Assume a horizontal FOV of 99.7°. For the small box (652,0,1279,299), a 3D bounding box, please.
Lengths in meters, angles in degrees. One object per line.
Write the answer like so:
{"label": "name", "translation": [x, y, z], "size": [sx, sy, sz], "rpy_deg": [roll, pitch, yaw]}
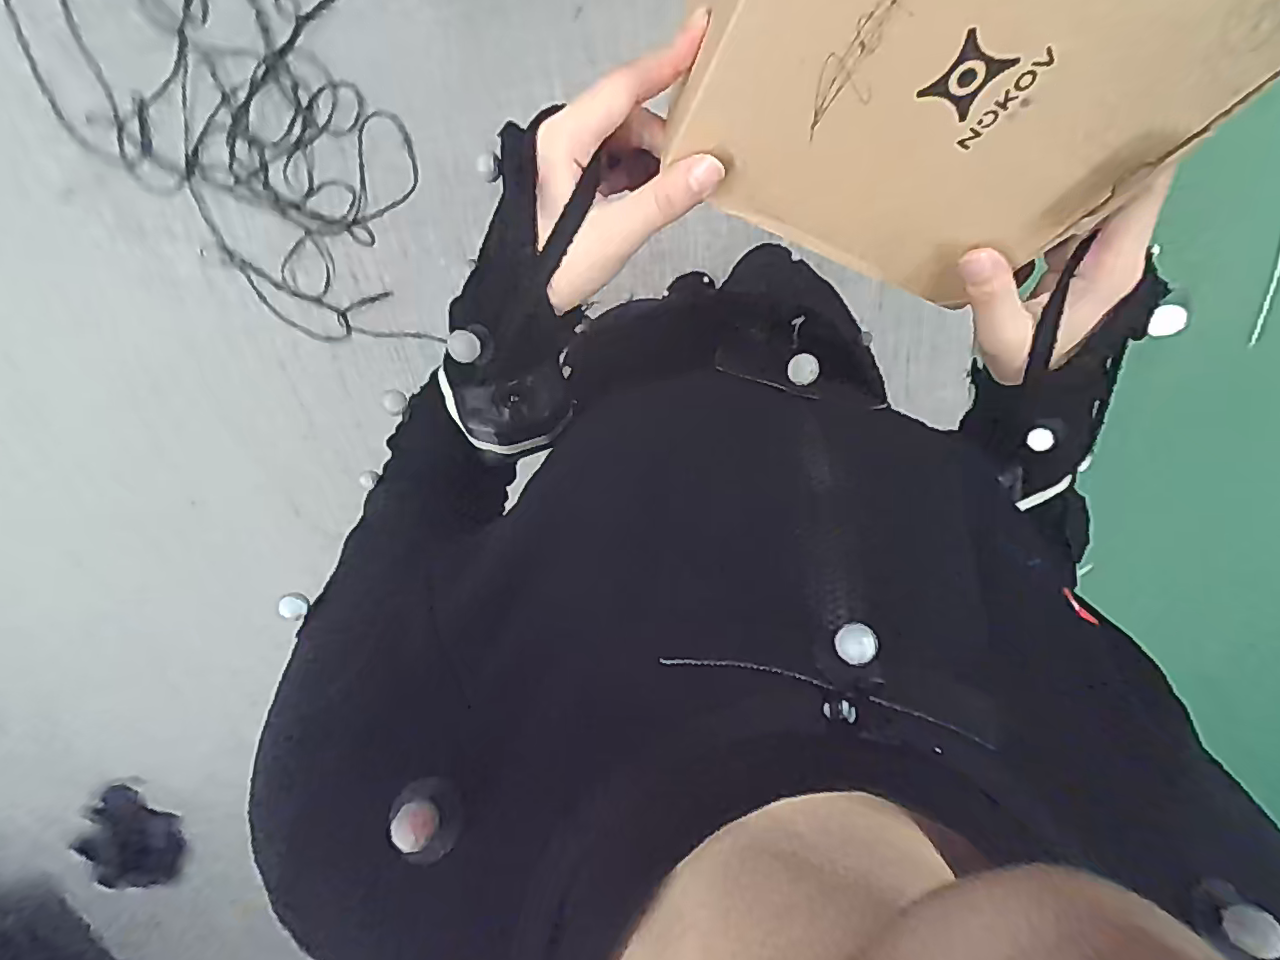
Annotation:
{"label": "small box", "translation": [0.119, -0.215, 0.225], "size": [0.179, 0.176, 0.168], "rpy_deg": [14, 151, -15]}
